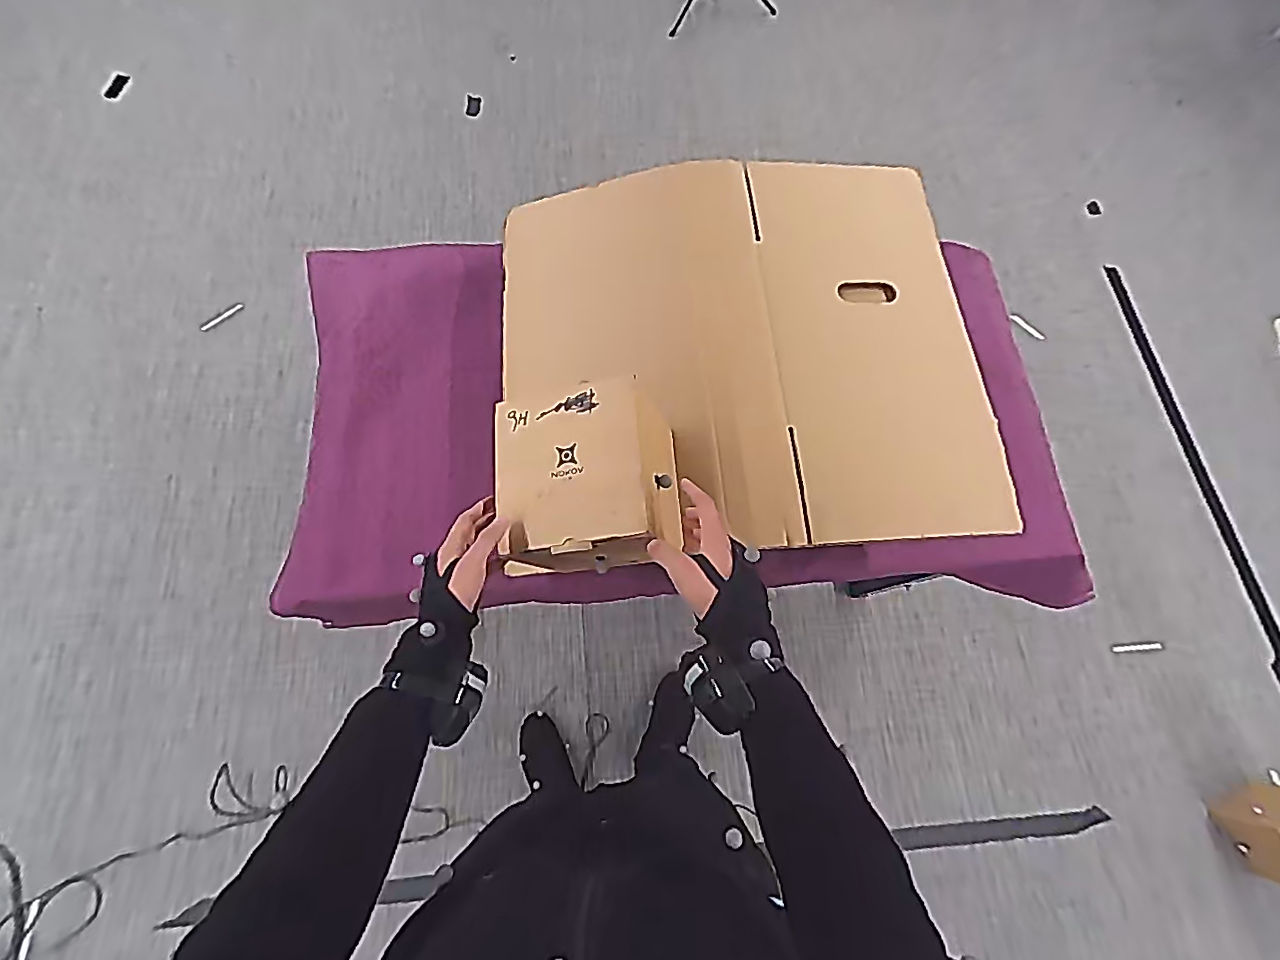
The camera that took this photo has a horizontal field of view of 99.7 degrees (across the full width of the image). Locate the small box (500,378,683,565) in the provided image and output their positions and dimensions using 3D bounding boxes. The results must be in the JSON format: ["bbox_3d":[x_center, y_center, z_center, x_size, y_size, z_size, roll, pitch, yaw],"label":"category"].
[{"bbox_3d":[-0.050,0.005,0.641,0.168,0.176,0.179,-9,73,14],"label":"small box"}]
